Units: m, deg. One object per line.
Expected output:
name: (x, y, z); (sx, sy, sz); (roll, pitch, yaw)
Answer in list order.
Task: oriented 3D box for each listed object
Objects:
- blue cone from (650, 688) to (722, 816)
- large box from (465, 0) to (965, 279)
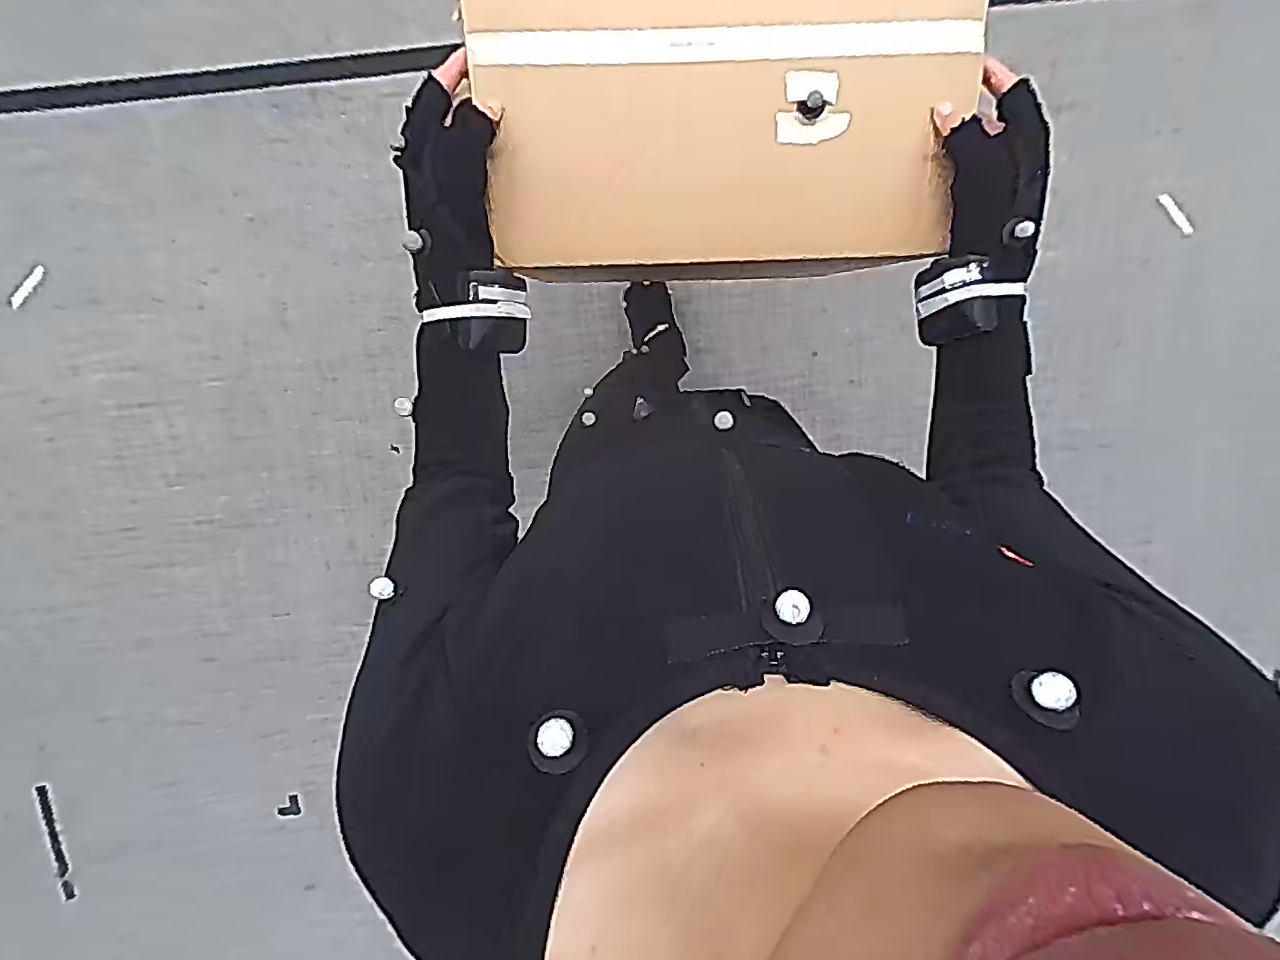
blue cone: (0.137, 0.749, 1.445); (0.193, 0.380, 0.192); (16, 99, -4)
large box: (0.056, -0.397, 0.577); (0.408, 0.320, 0.320); (-3, 108, -2)
